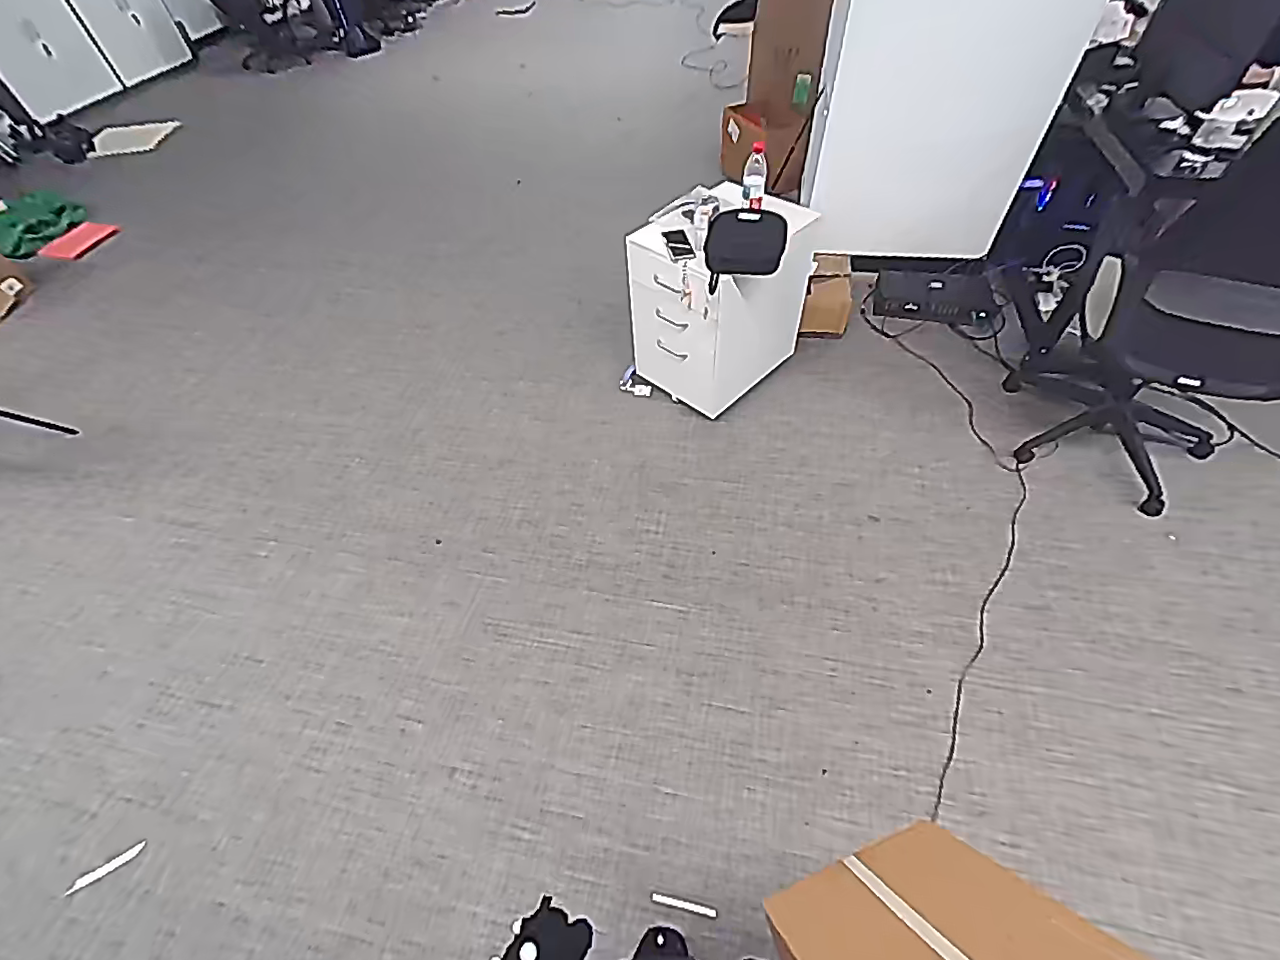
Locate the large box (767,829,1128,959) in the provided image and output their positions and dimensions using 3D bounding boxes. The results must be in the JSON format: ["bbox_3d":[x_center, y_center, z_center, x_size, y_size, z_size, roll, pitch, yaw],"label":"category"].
[{"bbox_3d":[0.411,0.723,0.653,0.320,0.408,0.320,-17,83,-11],"label":"large box"}]
